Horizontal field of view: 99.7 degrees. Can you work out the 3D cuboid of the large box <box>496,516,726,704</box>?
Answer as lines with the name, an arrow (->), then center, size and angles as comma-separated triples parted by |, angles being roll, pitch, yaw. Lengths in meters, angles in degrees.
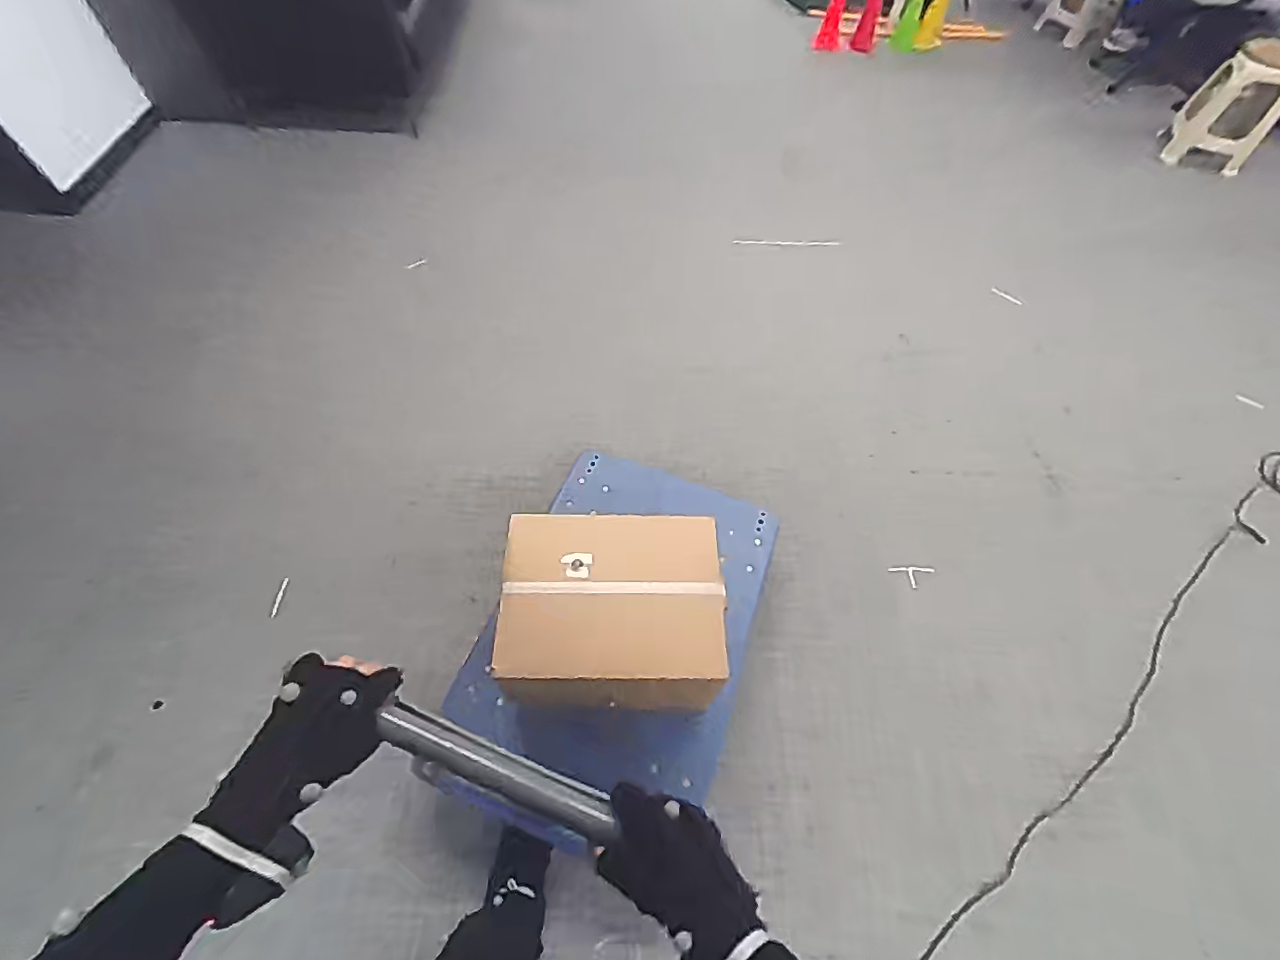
large box -> -0.053, 0.282, 1.129 | 0.408, 0.320, 0.320 | 0, 58, -1
